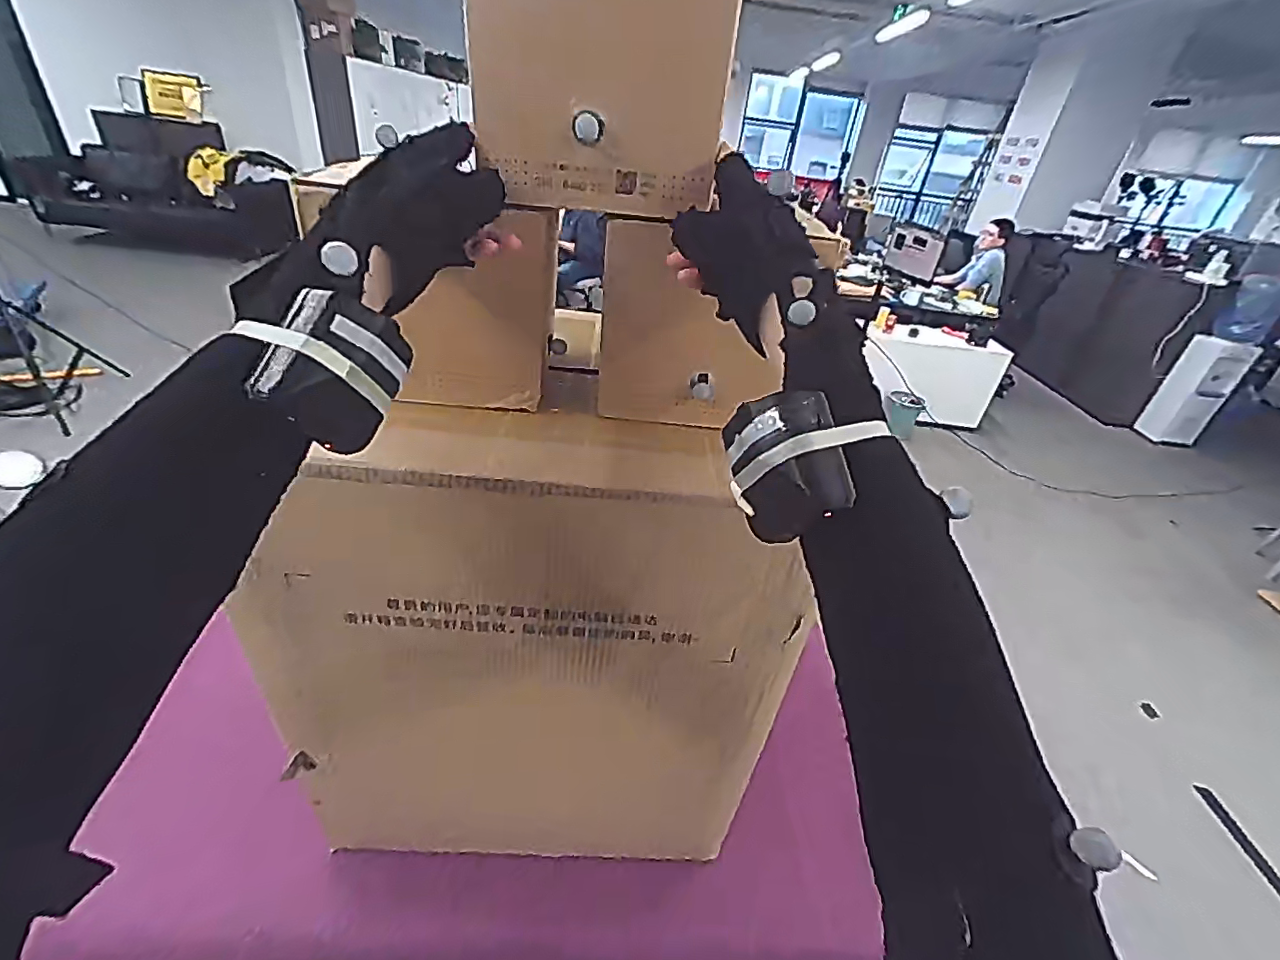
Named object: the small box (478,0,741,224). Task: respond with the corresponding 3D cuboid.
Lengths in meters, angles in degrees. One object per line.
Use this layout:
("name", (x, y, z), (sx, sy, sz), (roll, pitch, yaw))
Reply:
("small box", (-0.024, -0.307, 0.414), (0.168, 0.176, 0.179), (4, 34, -3))

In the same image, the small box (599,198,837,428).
("small box", (0.057, -0.161, 0.511), (0.179, 0.176, 0.168), (4, 33, -2))
